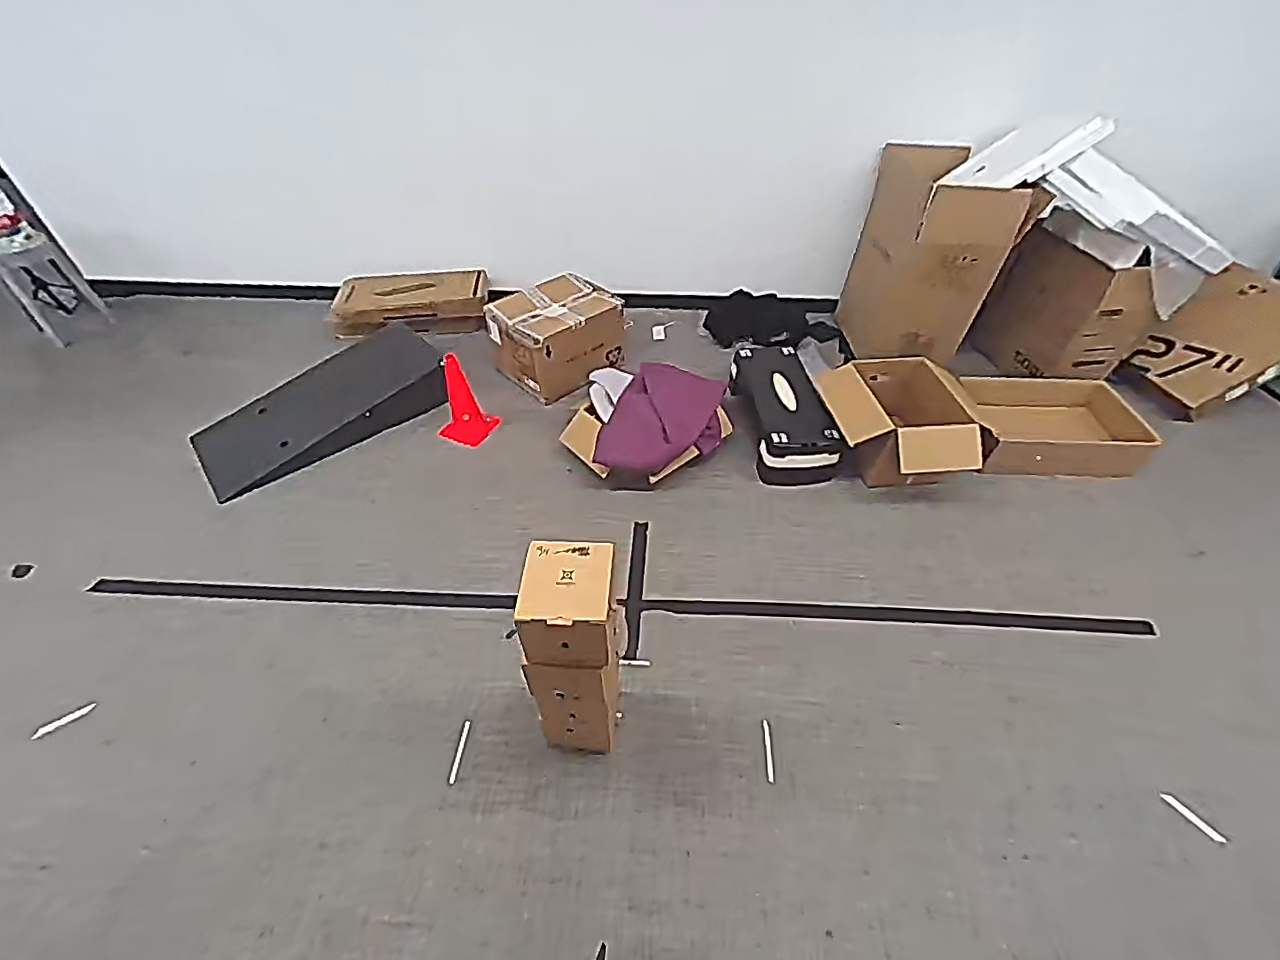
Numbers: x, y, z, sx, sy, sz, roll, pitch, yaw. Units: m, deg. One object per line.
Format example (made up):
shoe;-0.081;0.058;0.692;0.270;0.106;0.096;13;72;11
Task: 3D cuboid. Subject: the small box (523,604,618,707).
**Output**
small box;-0.139;0.363;1.162;0.168;0.176;0.179;4;47;5

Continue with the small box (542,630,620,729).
small box;-0.139;0.466;1.289;0.168;0.176;0.179;5;46;5

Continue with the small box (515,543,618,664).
small box;-0.132;0.242;1.050;0.168;0.176;0.179;2;46;2

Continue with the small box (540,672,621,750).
small box;-0.147;0.583;1.404;0.179;0.176;0.168;5;46;4
